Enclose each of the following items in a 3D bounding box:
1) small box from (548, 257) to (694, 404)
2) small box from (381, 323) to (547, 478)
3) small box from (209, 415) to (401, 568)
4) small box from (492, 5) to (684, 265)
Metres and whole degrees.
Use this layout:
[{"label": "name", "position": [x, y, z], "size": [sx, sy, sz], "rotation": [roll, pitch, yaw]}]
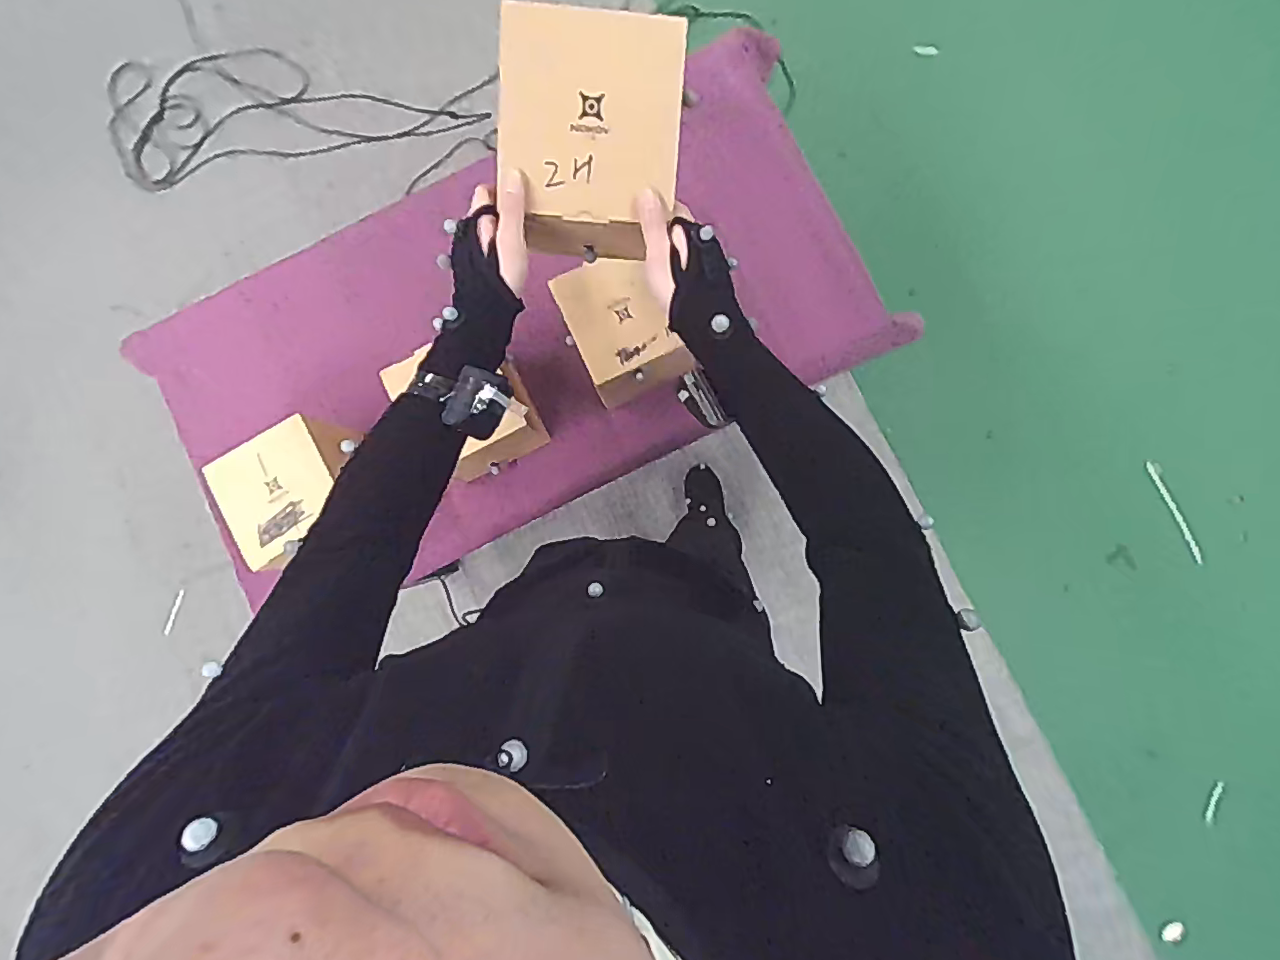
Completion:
[{"label": "small box", "position": [-0.026, -0.245, 0.866], "size": [0.168, 0.176, 0.179], "rotation": [-25, 84, 1]}, {"label": "small box", "position": [-0.272, -0.116, 0.872], "size": [0.168, 0.176, 0.179], "rotation": [-27, 85, 2]}, {"label": "small box", "position": [-0.523, 0.022, 0.871], "size": [0.168, 0.176, 0.179], "rotation": [-30, 83, 0]}, {"label": "small box", "position": [-0.051, -0.341, 0.571], "size": [0.168, 0.176, 0.179], "rotation": [5, 102, -1]}]
